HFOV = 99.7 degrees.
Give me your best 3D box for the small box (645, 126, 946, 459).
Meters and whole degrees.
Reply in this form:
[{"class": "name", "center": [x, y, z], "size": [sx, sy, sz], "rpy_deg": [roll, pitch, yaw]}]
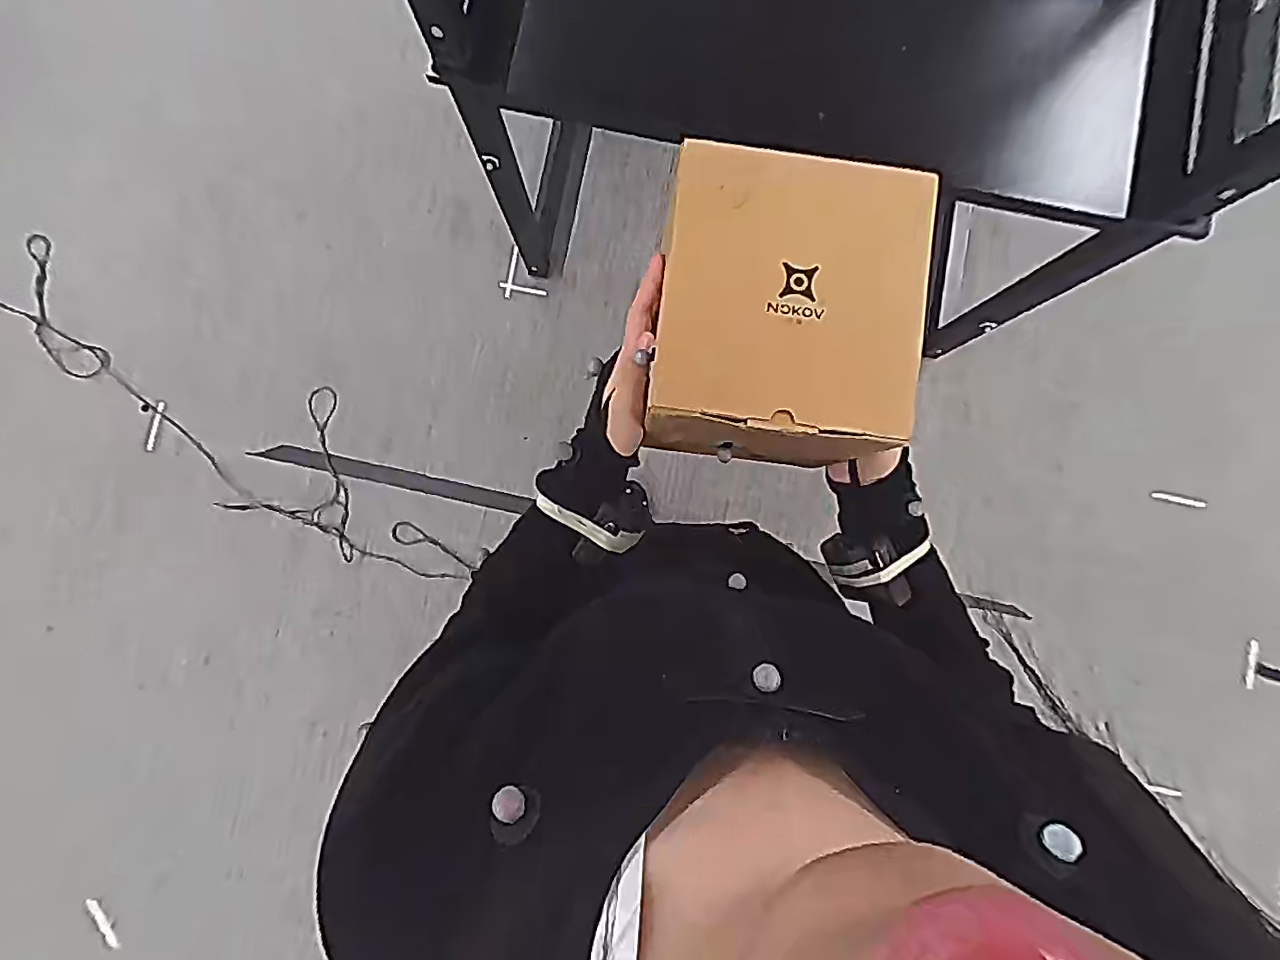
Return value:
[{"class": "small box", "center": [0.096, -0.117, 0.408], "size": [0.168, 0.176, 0.179], "rpy_deg": [7, 88, -2]}]
